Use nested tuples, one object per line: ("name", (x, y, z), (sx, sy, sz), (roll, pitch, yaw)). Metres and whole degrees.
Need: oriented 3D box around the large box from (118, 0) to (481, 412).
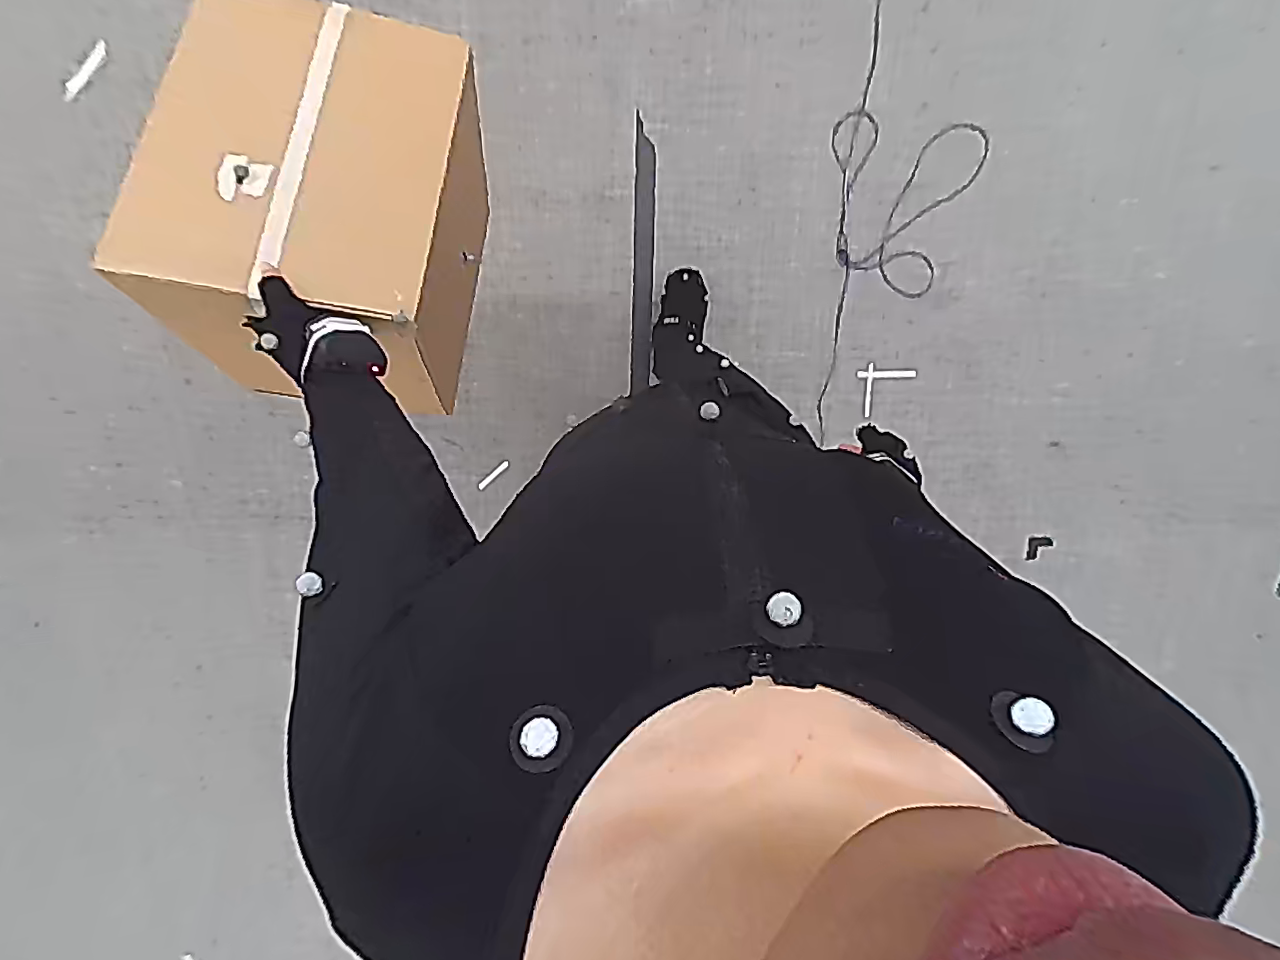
("large box", (-0.420, -0.352, 0.783), (0.320, 0.320, 0.408), (6, 76, -9))
